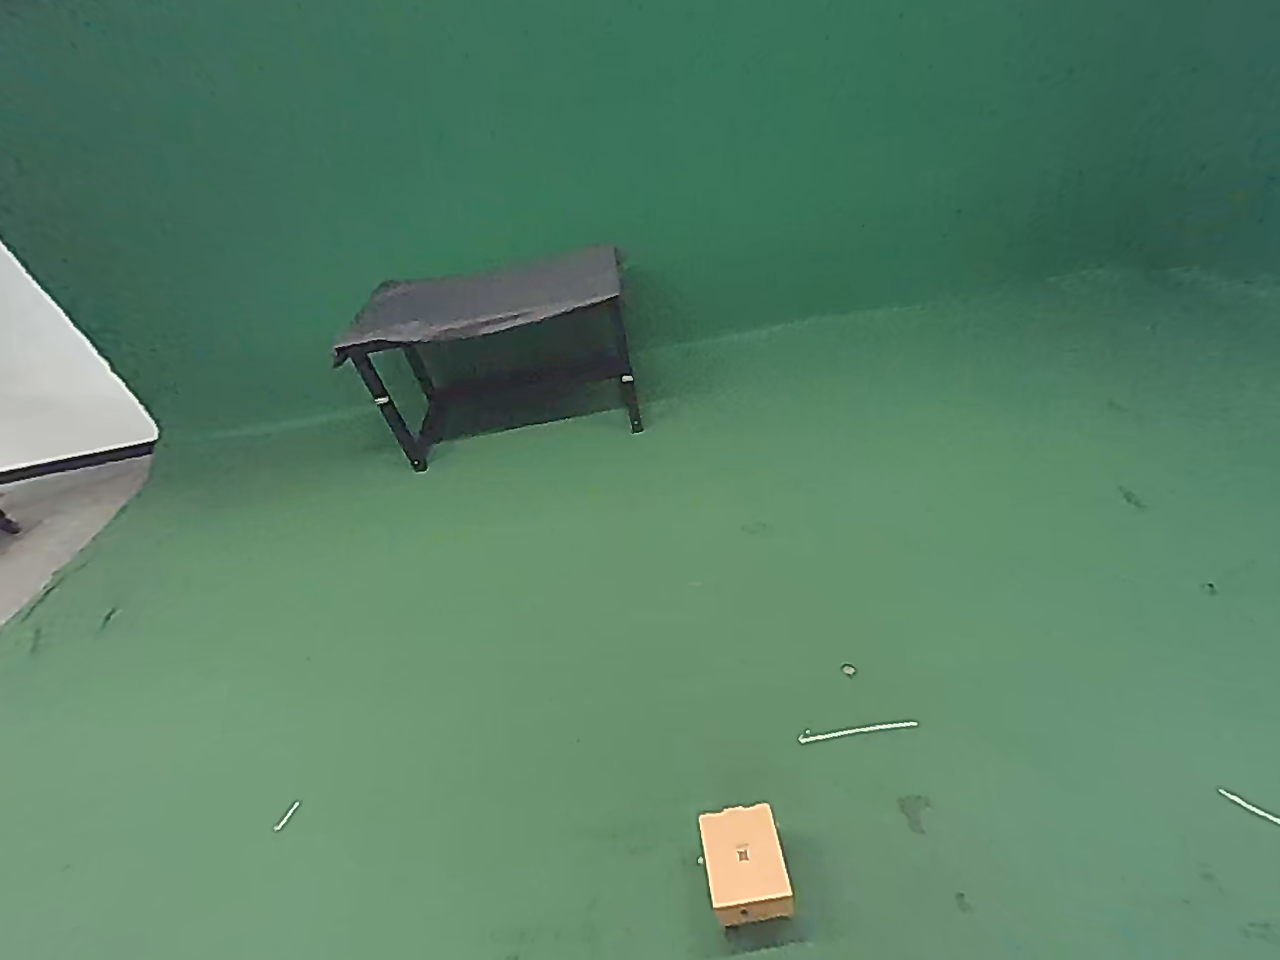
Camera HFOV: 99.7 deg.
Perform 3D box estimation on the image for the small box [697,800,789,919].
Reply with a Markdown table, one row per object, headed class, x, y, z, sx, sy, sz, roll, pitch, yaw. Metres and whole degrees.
| class | x | y | z | sx | sy | sz | roll | pitch | yaw |
| --- | --- | --- | --- | --- | --- | --- | --- | --- | --- |
| small box | 0.230 | 0.853 | 1.209 | 0.168 | 0.176 | 0.179 | -11 | 39 | 2 |
